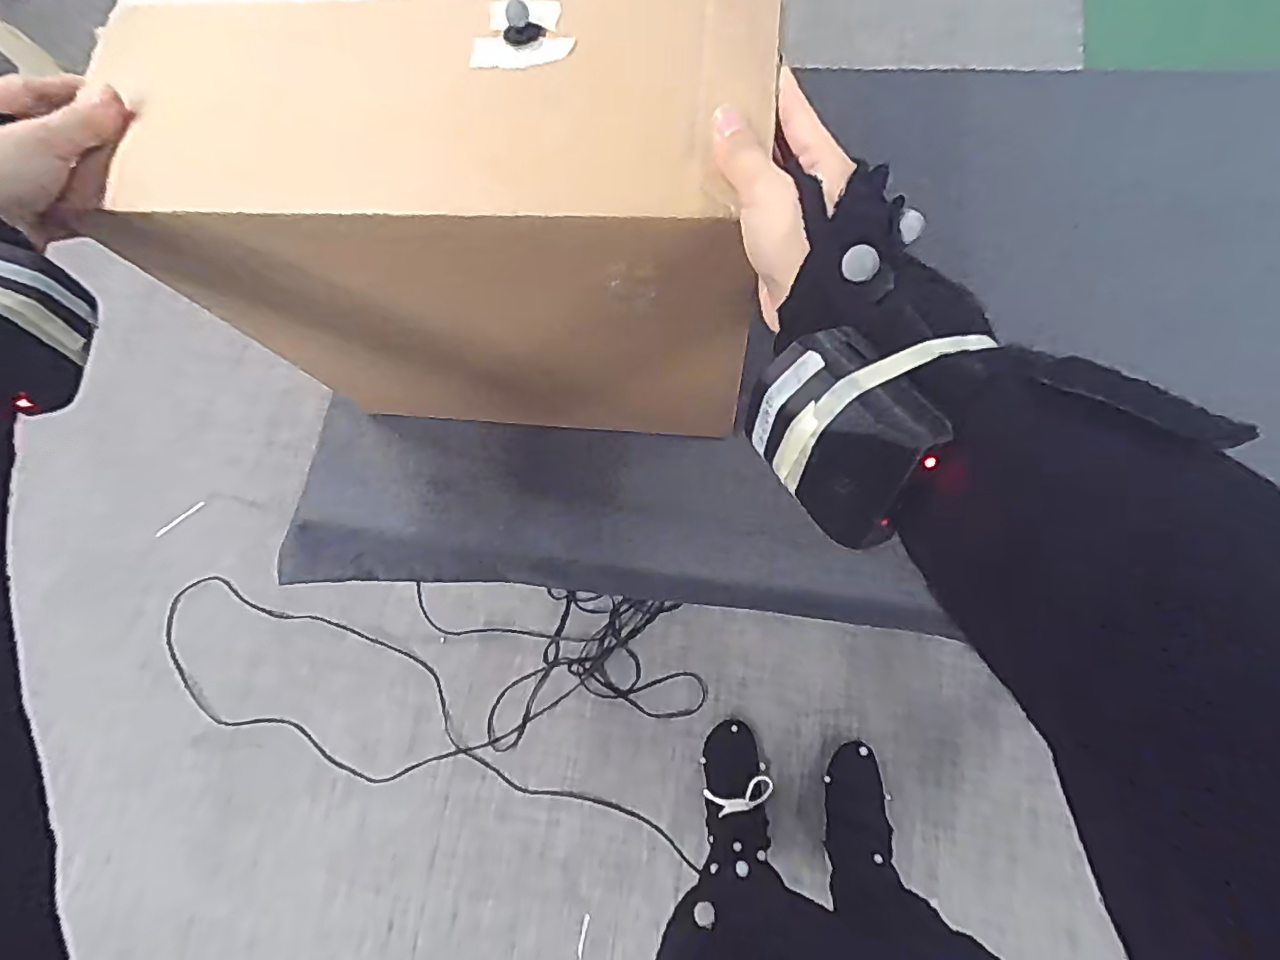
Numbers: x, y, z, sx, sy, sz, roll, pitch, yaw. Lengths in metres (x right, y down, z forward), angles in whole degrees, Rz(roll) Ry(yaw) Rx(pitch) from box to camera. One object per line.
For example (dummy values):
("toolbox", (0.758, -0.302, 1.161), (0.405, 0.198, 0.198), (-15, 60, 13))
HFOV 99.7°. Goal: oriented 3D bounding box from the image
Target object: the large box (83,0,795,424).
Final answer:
("large box", (-0.098, -0.250, 0.468), (0.408, 0.320, 0.320), (4, 76, 6))
